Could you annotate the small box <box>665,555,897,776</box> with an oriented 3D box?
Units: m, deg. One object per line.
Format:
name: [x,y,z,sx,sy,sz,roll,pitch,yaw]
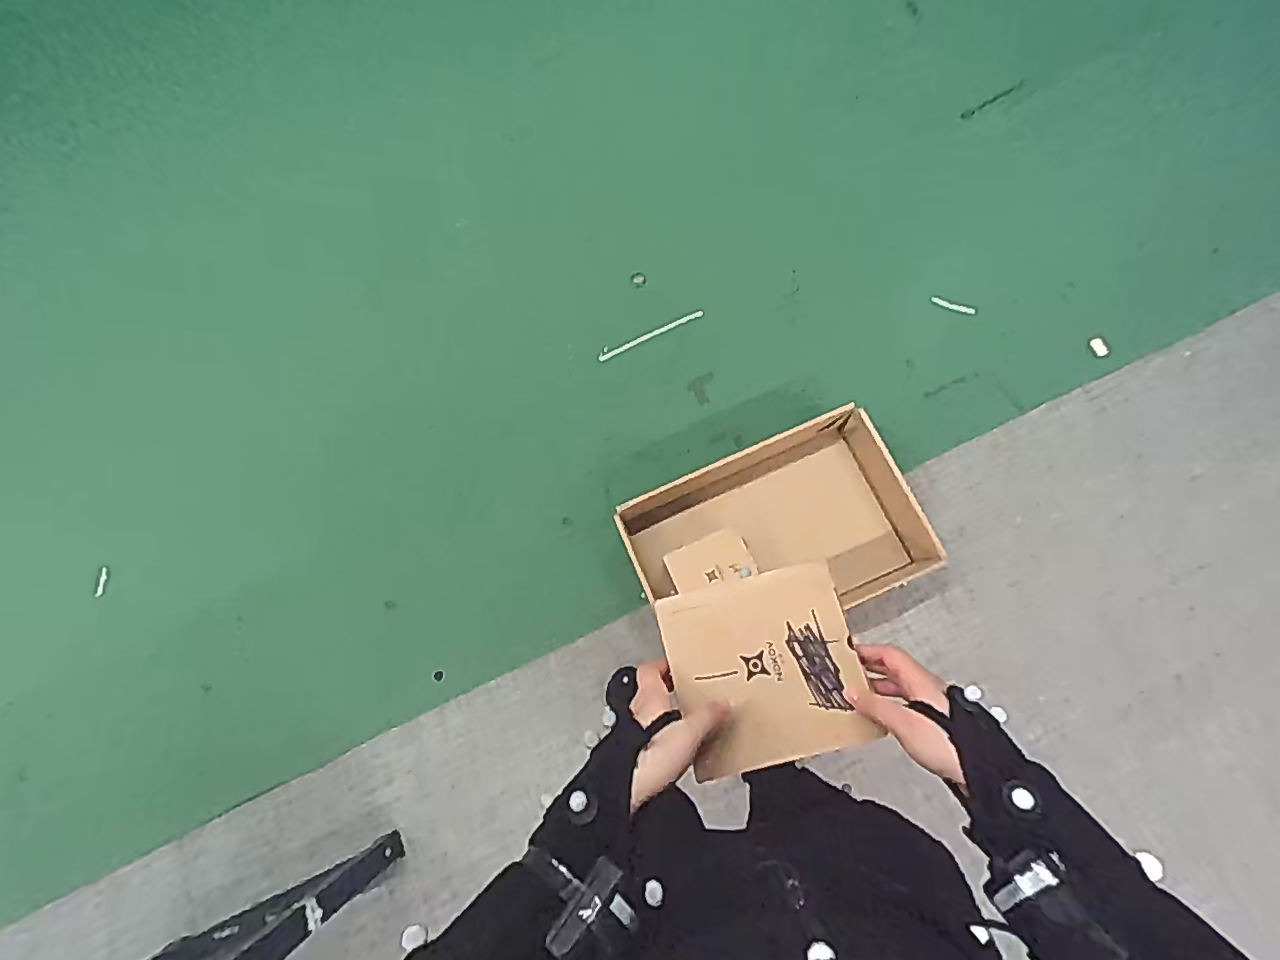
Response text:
small box: [0.131,0.189,0.571,0.179,0.176,0.168,-14,71,1]

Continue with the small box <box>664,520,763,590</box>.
small box: [0.165,0.207,1.202,0.179,0.176,0.168,-24,77,-3]
